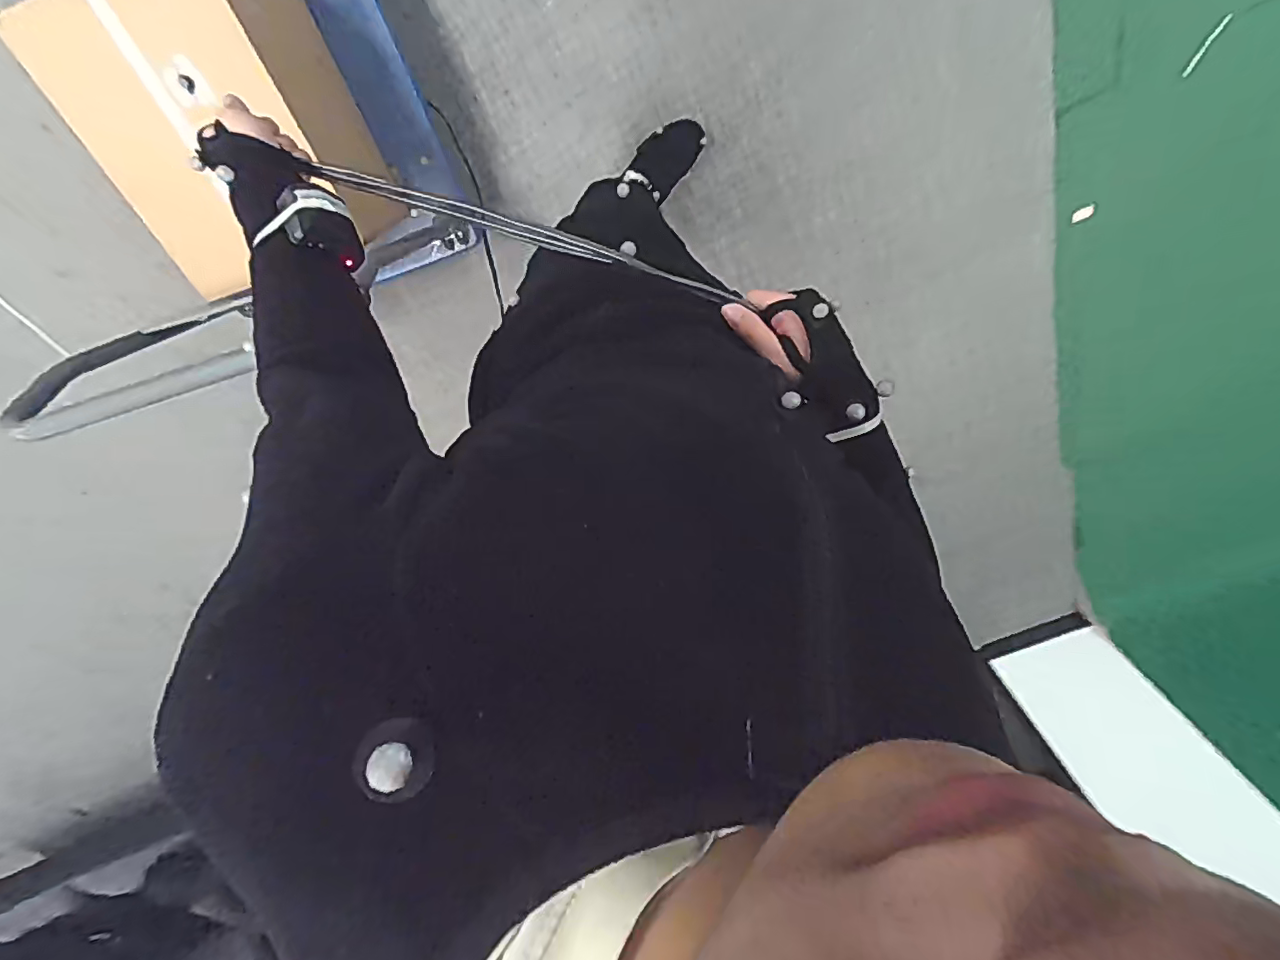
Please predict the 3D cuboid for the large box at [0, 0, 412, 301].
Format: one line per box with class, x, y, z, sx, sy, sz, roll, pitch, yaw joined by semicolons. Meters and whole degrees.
large box;-0.676;-0.589;0.946;0.320;0.320;0.408;-17;123;5
